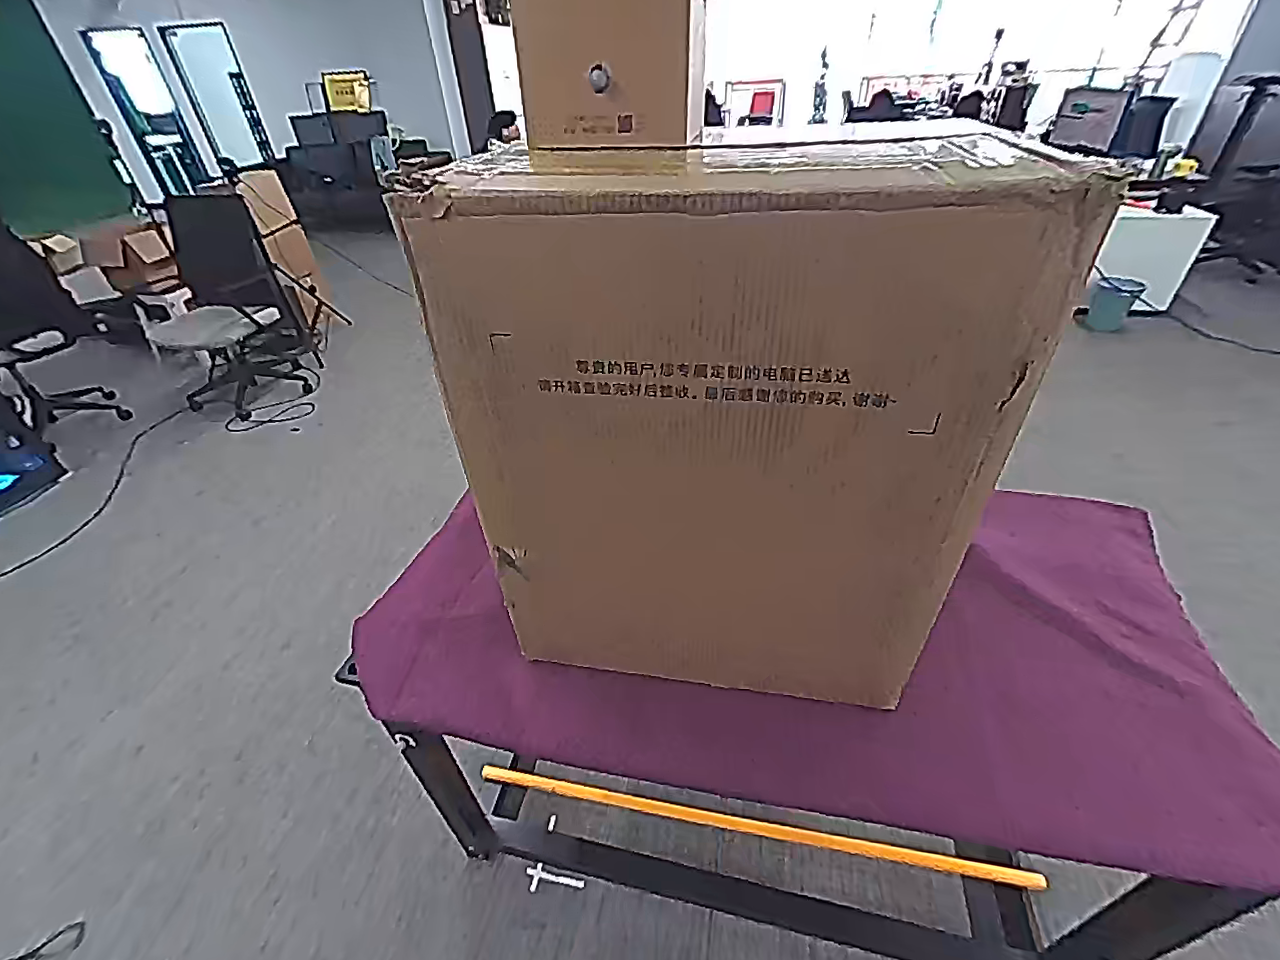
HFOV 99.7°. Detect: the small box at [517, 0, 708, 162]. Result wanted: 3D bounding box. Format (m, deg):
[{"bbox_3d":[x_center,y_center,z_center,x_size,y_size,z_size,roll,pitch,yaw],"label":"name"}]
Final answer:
[{"bbox_3d":[-0.021,-0.444,0.569,0.168,0.176,0.179,5,38,10],"label":"small box"}]
